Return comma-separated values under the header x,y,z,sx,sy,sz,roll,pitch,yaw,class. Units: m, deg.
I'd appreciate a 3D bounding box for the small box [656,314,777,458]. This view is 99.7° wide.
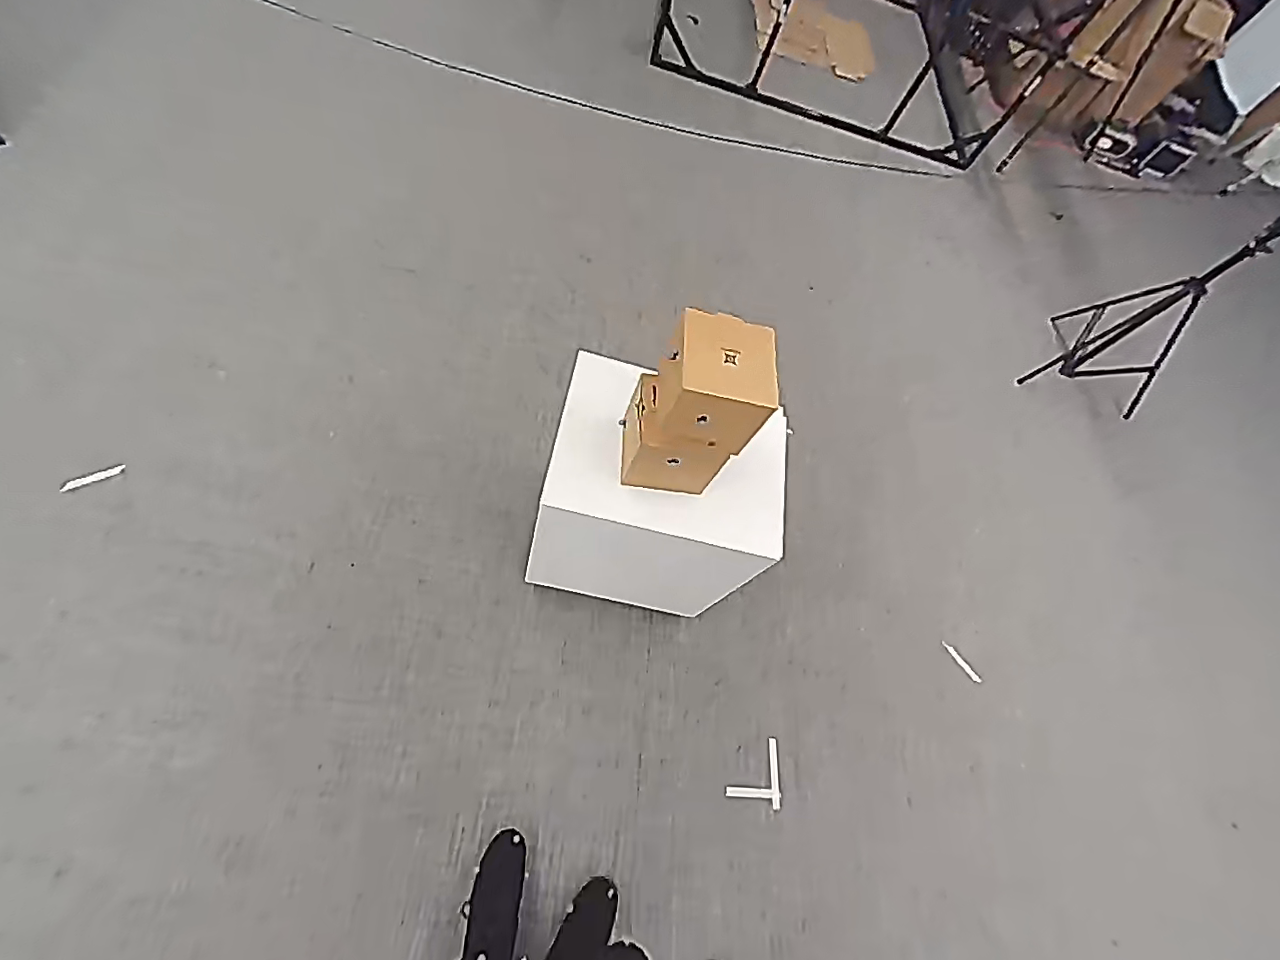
x,y,z,sx,sy,sz,roll,pitch,yaw,class
0.131,-0.159,0.968,0.168,0.176,0.179,10,61,-11,small box

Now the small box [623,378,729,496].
x,y,z,sx,sy,sz,roll,pitch,yaw,class
0.067,-0.080,1.097,0.179,0.176,0.168,8,62,-12,small box
